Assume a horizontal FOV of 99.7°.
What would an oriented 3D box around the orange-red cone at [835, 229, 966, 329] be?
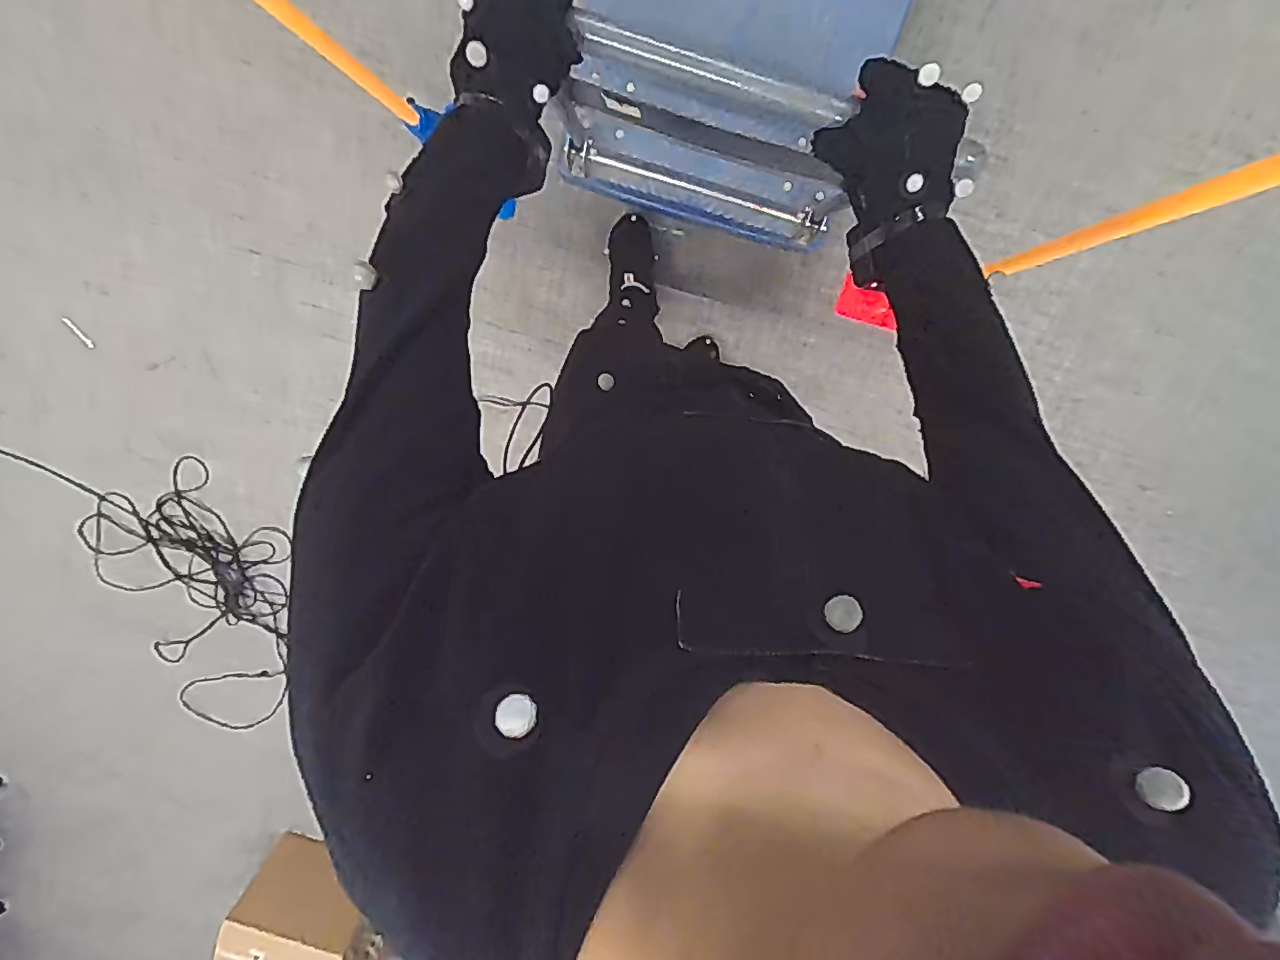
[{"bbox_3d":[0.587,-0.432,1.155,0.199,0.360,0.198,17,109,-2],"label":"orange-red cone"}]
